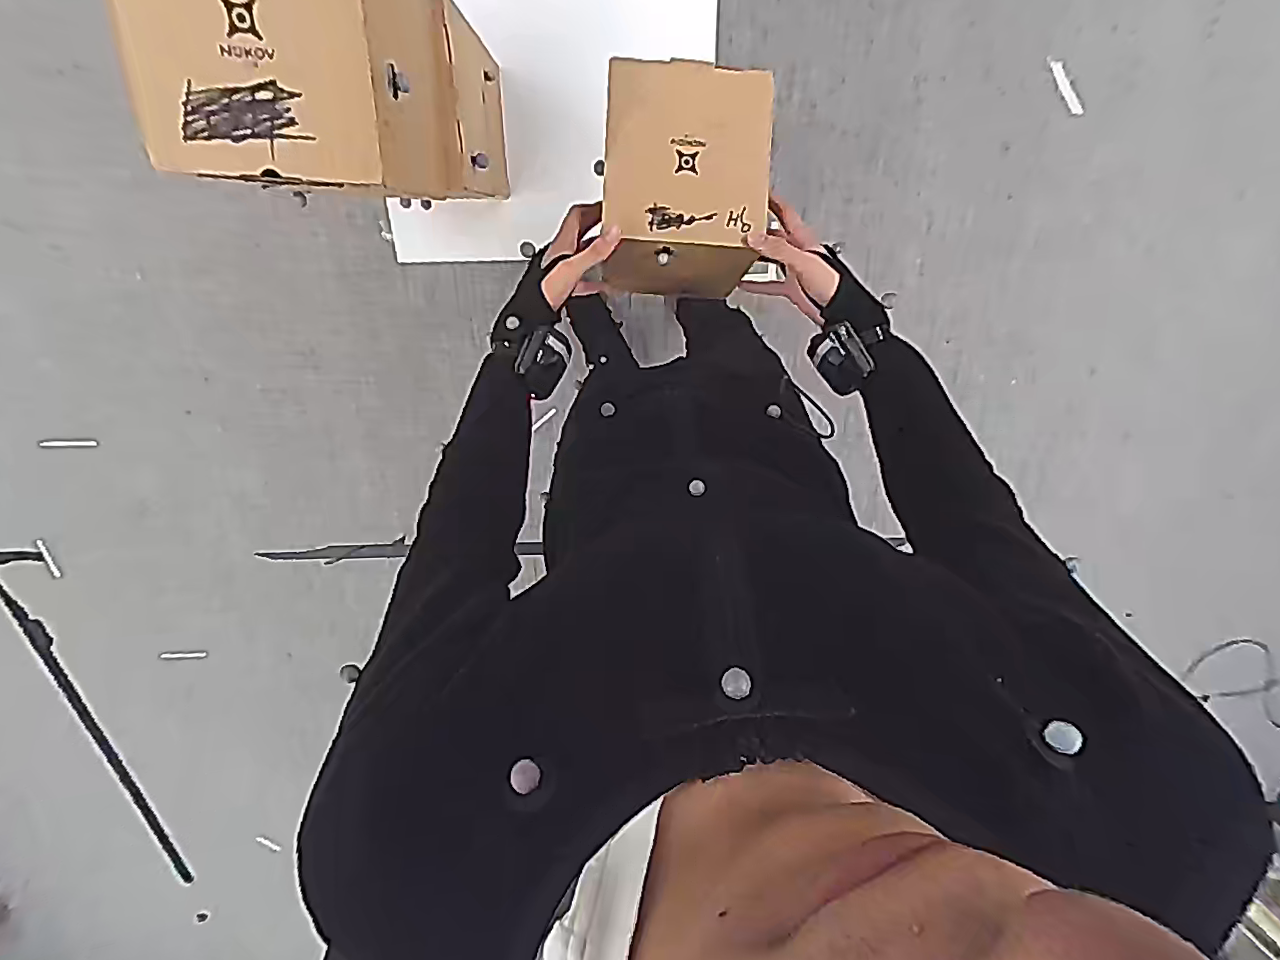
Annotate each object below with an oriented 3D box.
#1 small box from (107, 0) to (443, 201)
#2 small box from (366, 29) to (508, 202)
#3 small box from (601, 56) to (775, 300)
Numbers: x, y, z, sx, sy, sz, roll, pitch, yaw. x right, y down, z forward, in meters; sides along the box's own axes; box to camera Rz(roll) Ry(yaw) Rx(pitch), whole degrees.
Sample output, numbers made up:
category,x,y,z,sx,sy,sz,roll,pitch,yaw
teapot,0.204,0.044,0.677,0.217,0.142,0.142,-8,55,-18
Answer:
category,x,y,z,sx,sy,sz,roll,pitch,yaw
small box,-0.267,-0.328,0.434,0.168,0.176,0.179,2,114,-4
small box,-0.278,-0.475,0.728,0.168,0.176,0.179,-2,115,-3
small box,0.042,-0.321,0.609,0.168,0.176,0.179,3,91,-4
